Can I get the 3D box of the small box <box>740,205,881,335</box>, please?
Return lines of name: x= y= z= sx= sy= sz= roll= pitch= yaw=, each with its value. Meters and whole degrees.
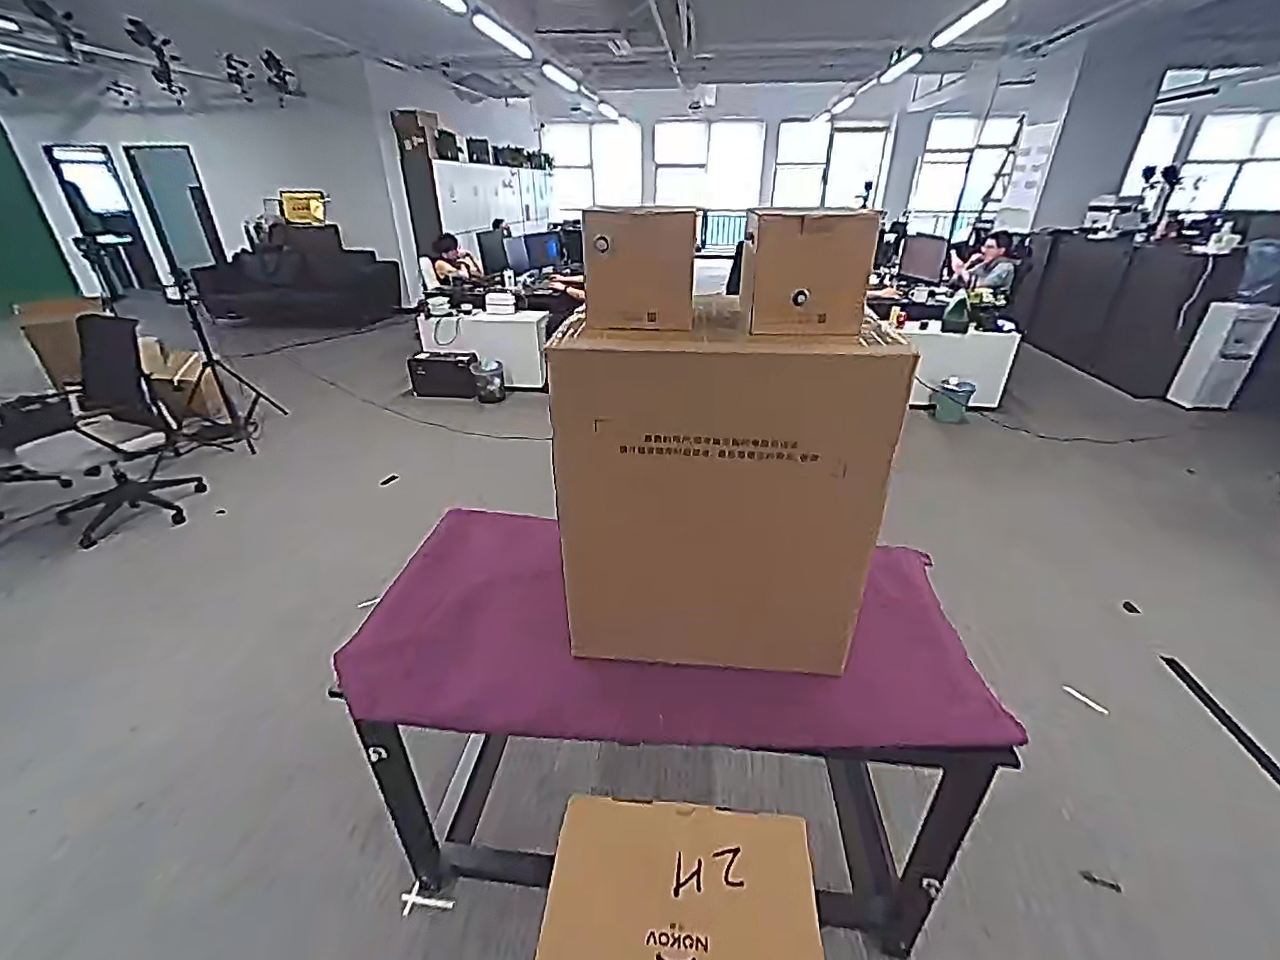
small box: x=0.251 y=-0.333 z=0.847 sx=0.168 sy=0.176 sz=0.179 roll=1 pitch=29 yaw=3

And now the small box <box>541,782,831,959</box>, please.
small box: x=0.029 y=0.334 z=0.352 sx=0.168 sy=0.176 sz=0.179 roll=2 pitch=33 yaw=6
